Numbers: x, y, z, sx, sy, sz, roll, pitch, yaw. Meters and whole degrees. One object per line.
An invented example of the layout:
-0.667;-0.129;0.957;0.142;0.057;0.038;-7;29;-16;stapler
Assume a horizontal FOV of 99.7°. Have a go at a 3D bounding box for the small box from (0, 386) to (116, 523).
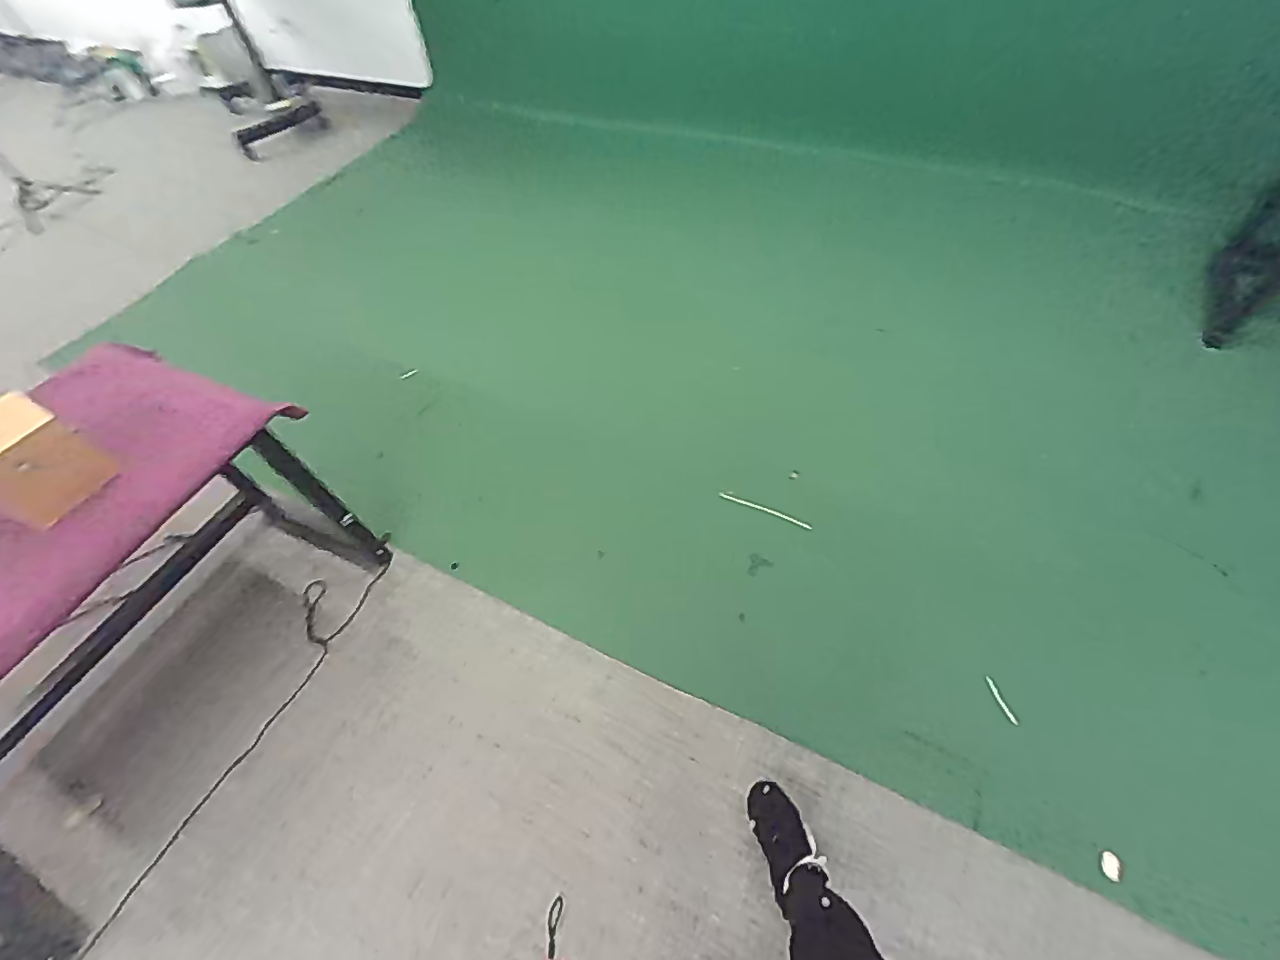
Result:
-1.210;-0.048;1.072;0.168;0.176;0.179;25;61;19;small box
